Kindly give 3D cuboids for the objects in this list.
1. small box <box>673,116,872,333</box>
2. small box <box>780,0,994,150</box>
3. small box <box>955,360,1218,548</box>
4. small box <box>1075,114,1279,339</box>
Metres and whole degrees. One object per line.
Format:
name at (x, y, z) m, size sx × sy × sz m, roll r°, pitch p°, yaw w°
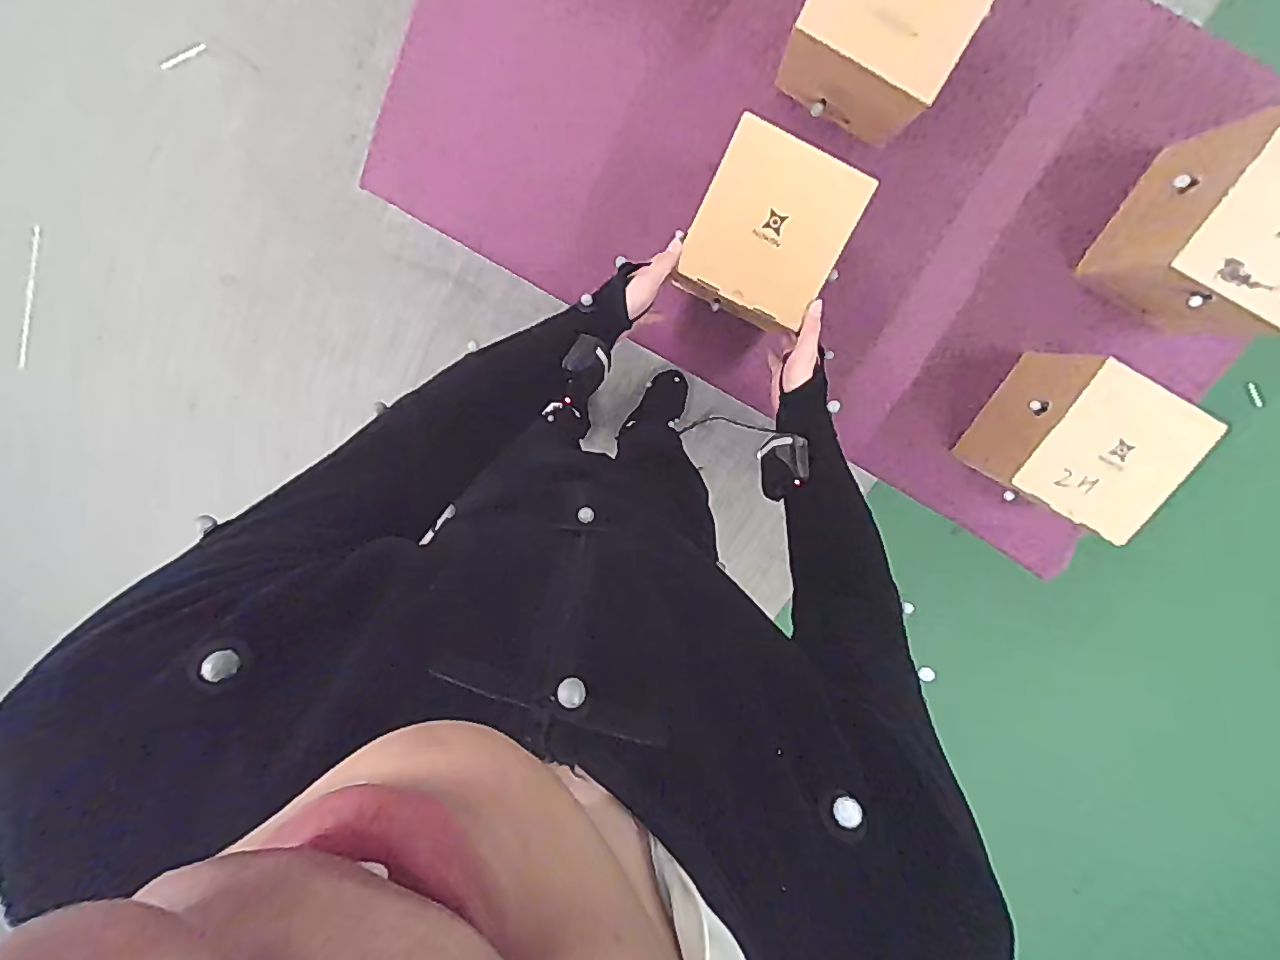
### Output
small box at (0.148, -0.301, 0.678) m, size 0.168 × 0.176 × 0.179 m, roll 25°, pitch 106°, yaw -4°
small box at (0.277, -0.521, 0.615) m, size 0.168 × 0.176 × 0.179 m, roll 29°, pitch 108°, yaw -3°
small box at (0.567, -0.047, 0.720) m, size 0.168 × 0.176 × 0.179 m, roll 30°, pitch 106°, yaw -2°
small box at (0.686, -0.285, 0.643) m, size 0.168 × 0.176 × 0.179 m, roll 28°, pitch 107°, yaw -2°
